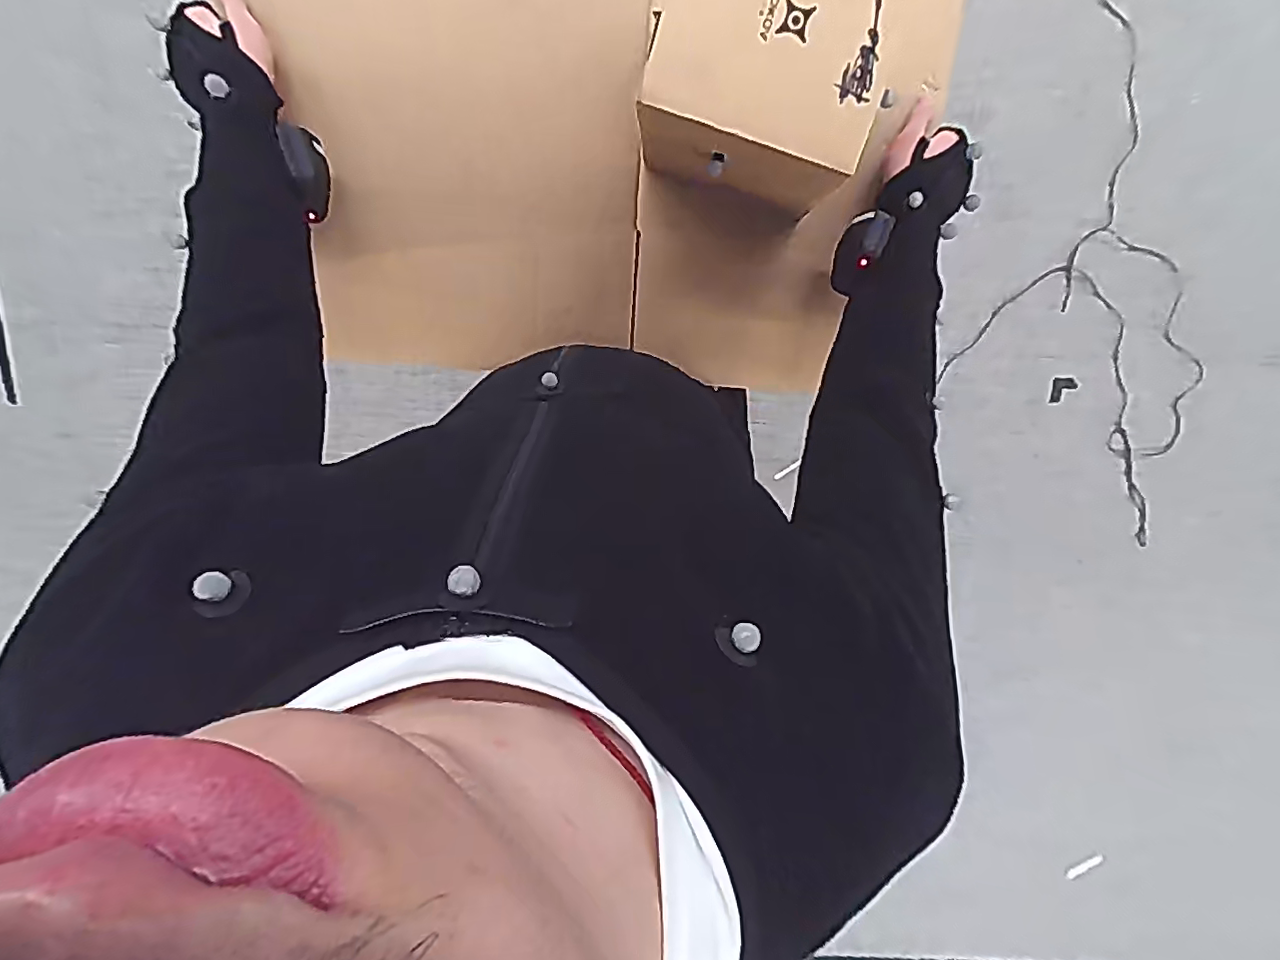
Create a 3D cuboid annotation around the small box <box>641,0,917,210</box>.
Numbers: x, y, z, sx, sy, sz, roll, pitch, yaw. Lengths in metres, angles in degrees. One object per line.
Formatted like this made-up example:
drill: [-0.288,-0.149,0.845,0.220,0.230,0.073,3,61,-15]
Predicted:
small box: [0.111,-0.358,0.472,0.179,0.176,0.168,18,105,-1]
